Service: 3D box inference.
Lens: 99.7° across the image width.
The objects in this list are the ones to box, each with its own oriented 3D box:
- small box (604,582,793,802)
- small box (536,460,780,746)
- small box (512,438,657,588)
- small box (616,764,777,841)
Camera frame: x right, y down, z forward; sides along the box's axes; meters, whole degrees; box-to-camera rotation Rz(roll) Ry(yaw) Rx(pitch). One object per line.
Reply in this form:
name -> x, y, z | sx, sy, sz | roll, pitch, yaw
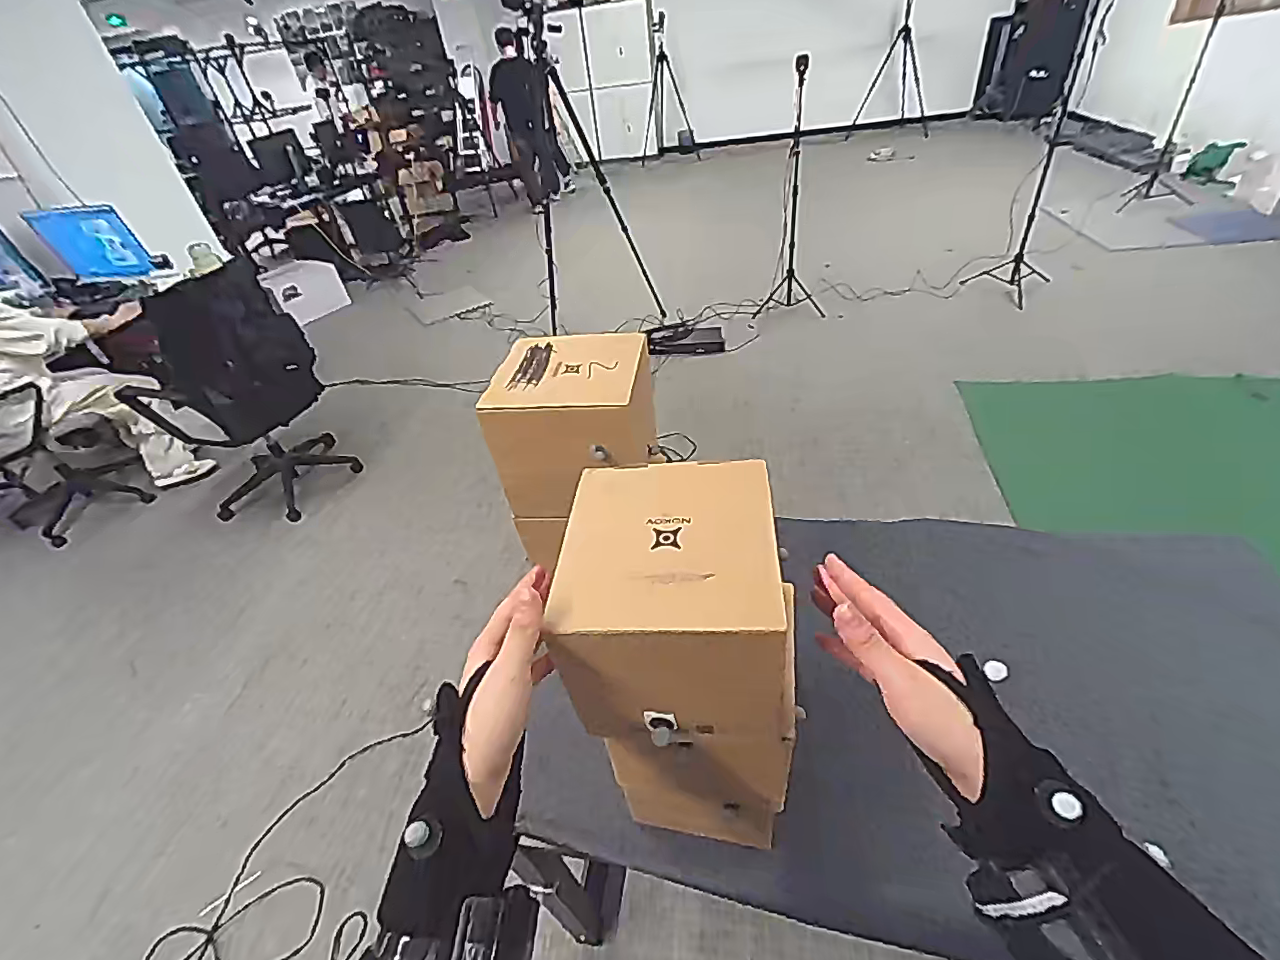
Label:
small box -> 0.068, 0.218, 0.577 | 0.179, 0.176, 0.168 | 1, 41, 14
small box -> 0.028, 0.102, 0.468 | 0.168, 0.176, 0.179 | -3, 41, 10
small box -> -0.062, 0.055, 0.797 | 0.179, 0.176, 0.168 | -1, 42, 11
small box -> 0.083, 0.333, 0.690 | 0.179, 0.176, 0.168 | 3, 41, 14
